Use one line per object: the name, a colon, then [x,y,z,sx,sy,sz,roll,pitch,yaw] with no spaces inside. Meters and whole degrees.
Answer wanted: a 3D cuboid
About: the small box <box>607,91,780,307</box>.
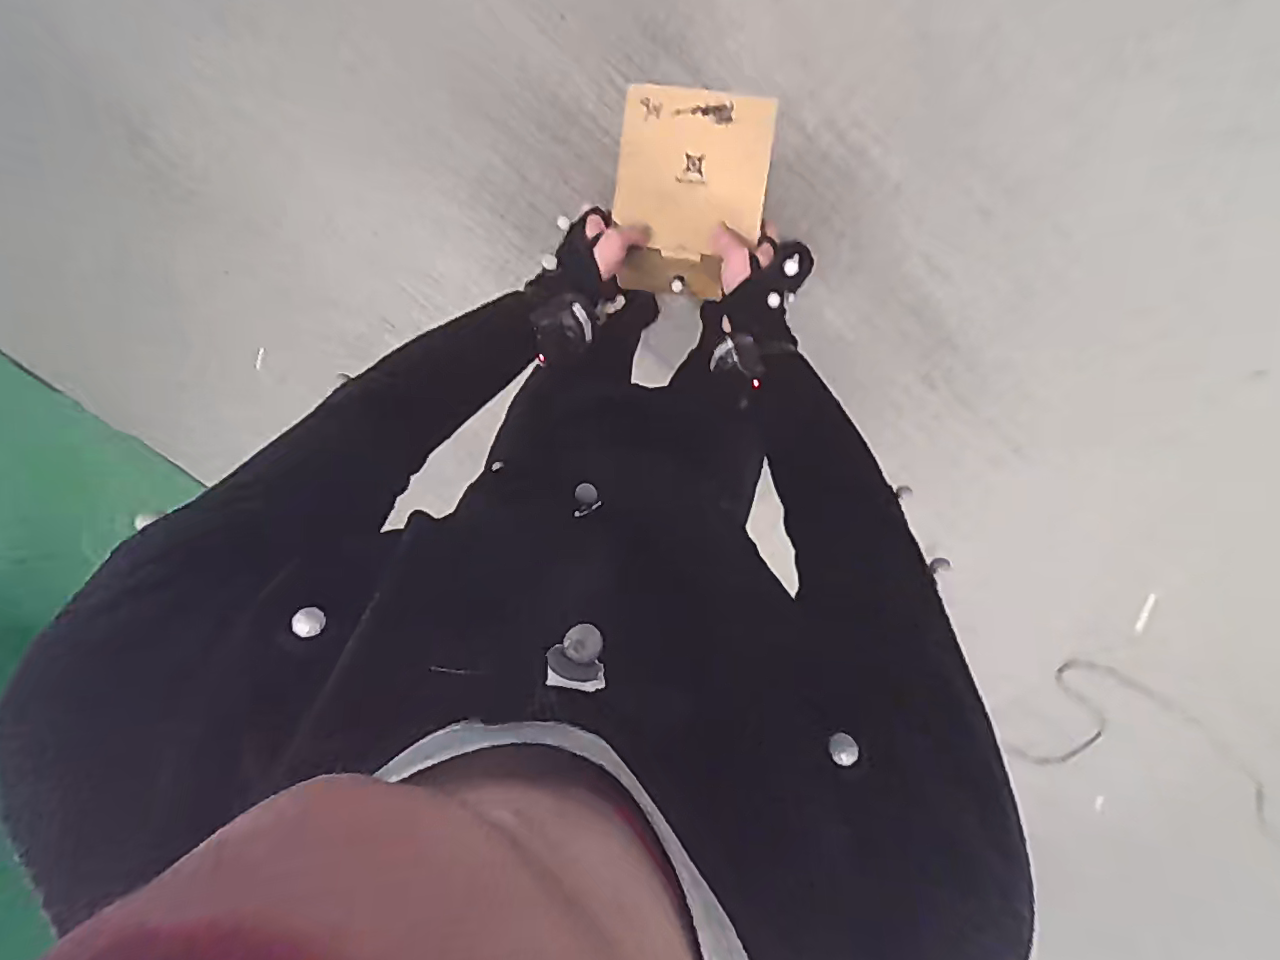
small box: [0.061,-0.323,0.657,0.168,0.176,0.179,8,93,3]
